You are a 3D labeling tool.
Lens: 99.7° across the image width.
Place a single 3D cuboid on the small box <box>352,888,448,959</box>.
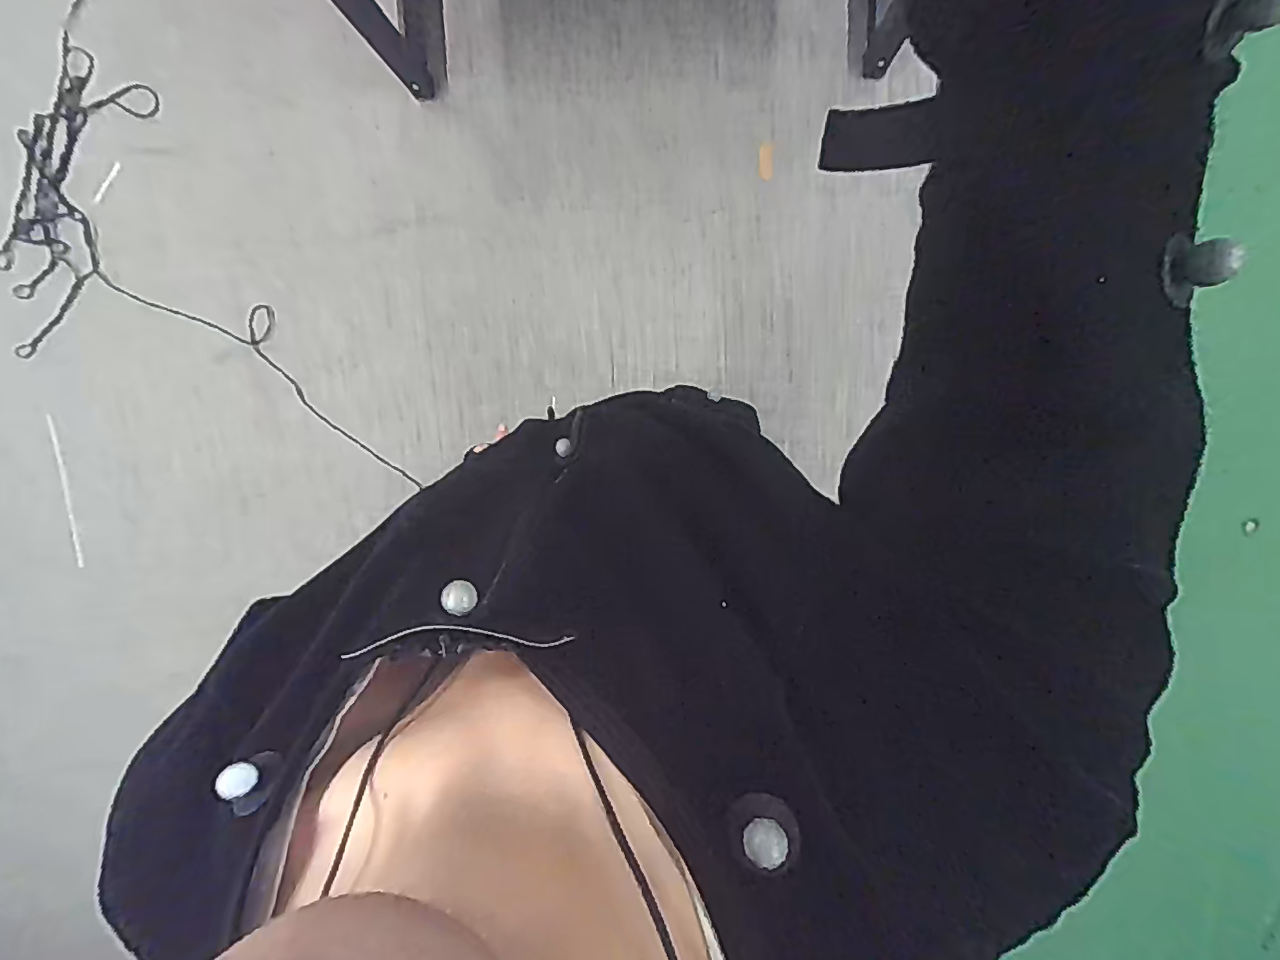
[{"bbox_3d":[-0.597,1.159,1.310,0.168,0.176,0.179,32,99,0],"label":"small box"}]
